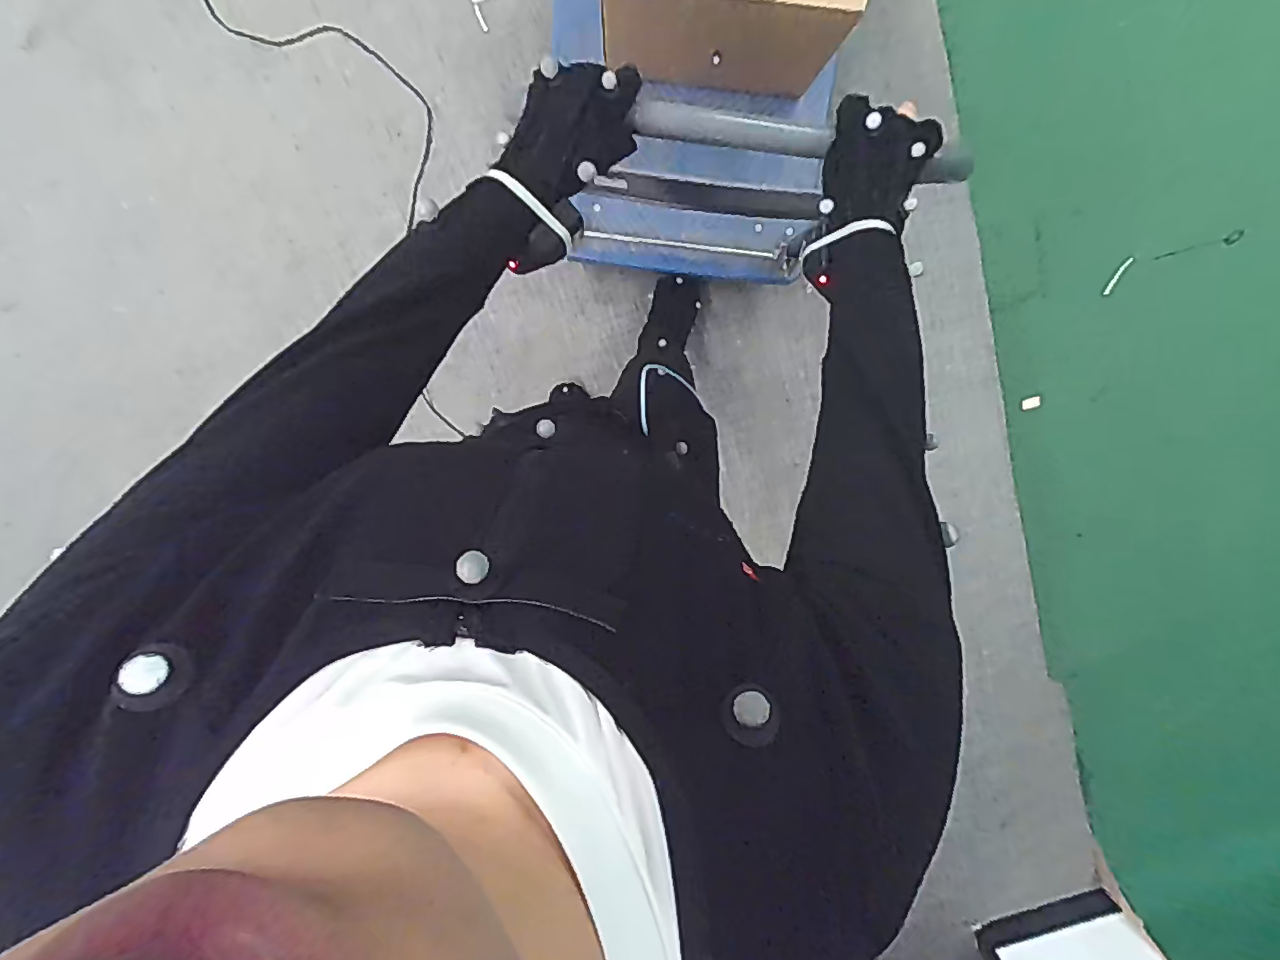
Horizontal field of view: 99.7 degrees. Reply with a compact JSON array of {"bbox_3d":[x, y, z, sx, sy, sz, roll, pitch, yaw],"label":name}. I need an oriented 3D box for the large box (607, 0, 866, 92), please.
[{"bbox_3d":[0.155,-0.915,0.927,0.408,0.320,0.320,4,104,-3],"label":"large box"}]
